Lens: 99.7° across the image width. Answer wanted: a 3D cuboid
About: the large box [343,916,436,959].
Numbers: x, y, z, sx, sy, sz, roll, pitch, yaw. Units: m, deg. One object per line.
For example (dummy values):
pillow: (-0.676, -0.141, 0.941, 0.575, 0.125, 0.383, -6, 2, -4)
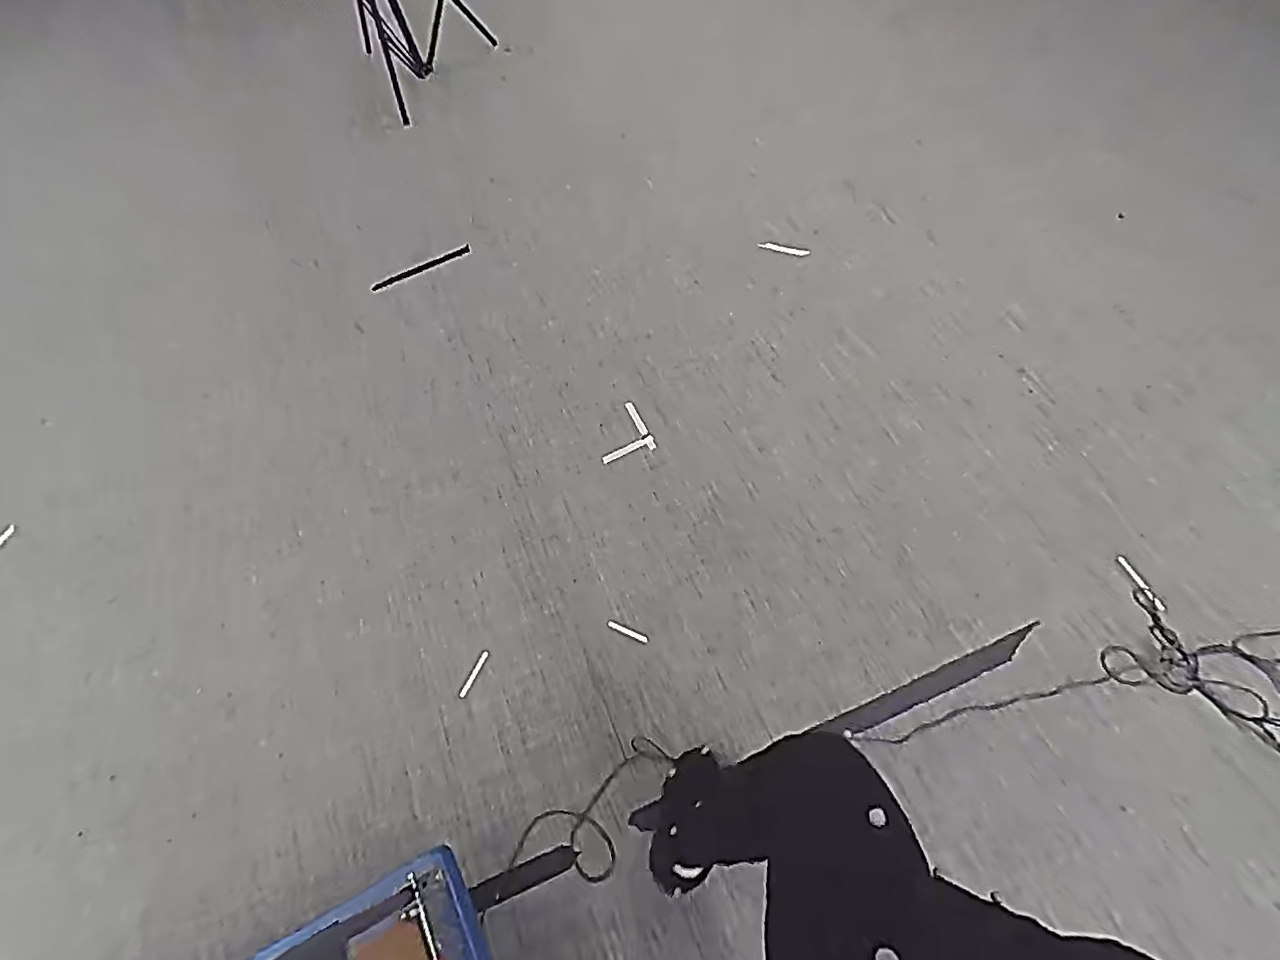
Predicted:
large box: (-0.461, 0.981, 0.789, 0.320, 0.320, 0.408, -28, 65, -7)
